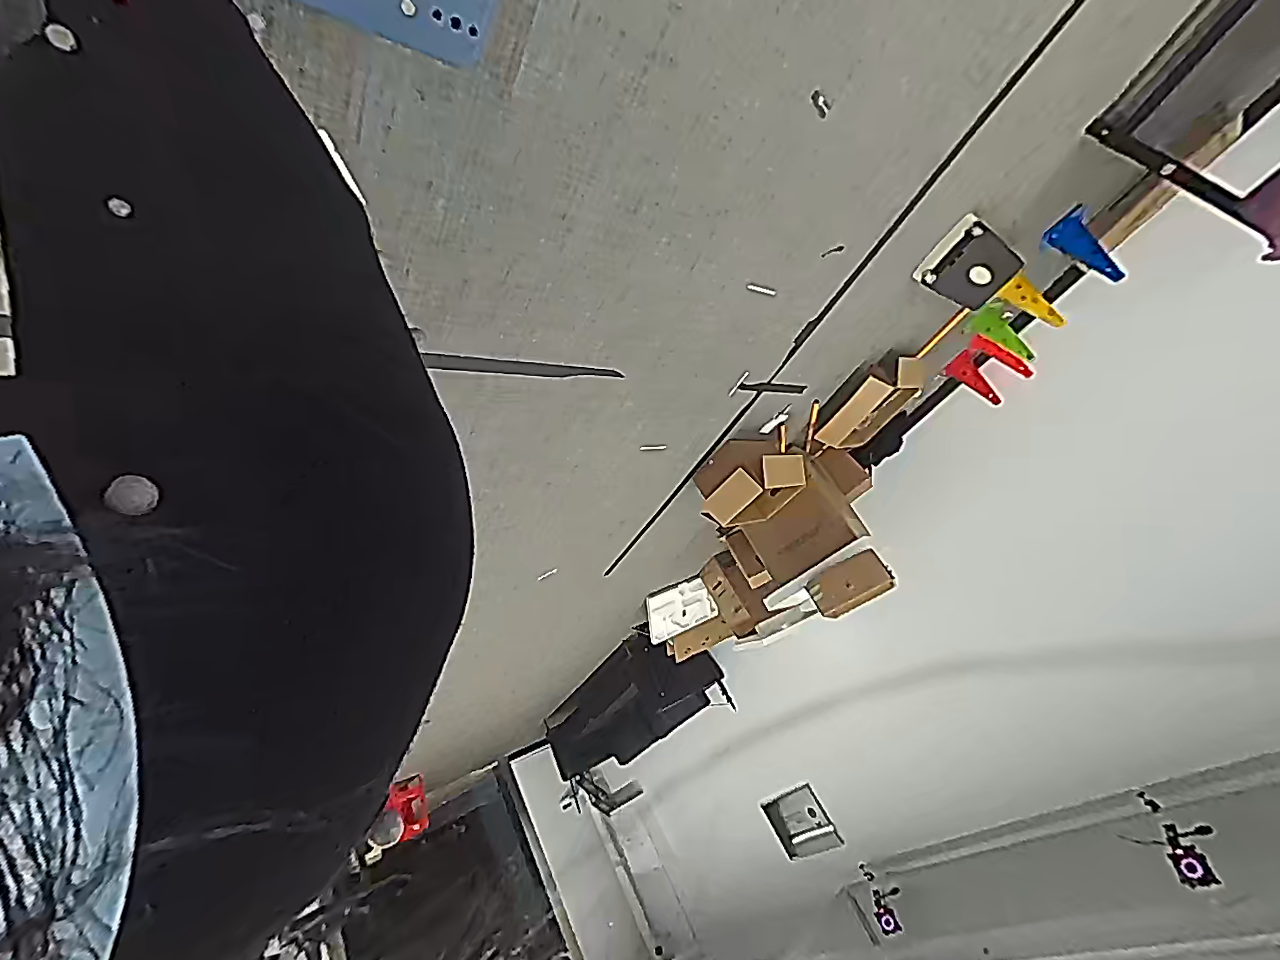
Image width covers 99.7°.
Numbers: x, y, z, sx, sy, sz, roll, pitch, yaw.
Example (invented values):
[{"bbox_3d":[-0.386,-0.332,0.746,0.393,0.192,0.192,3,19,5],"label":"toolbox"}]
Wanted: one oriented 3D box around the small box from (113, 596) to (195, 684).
[{"bbox_3d":[-1.425,0.465,1.590,0.168,0.176,0.179,-8,145,-41],"label":"small box"}]
